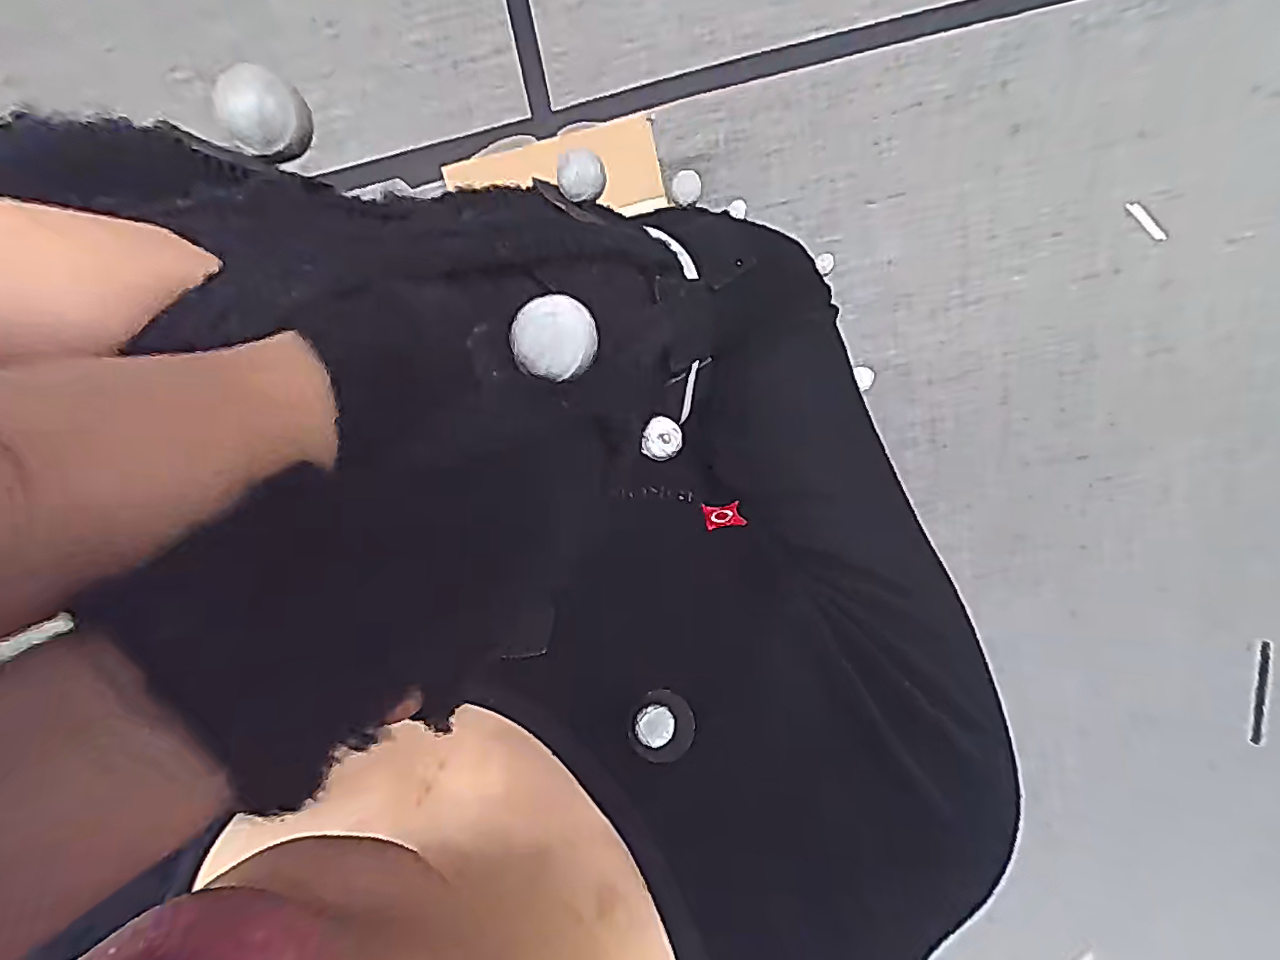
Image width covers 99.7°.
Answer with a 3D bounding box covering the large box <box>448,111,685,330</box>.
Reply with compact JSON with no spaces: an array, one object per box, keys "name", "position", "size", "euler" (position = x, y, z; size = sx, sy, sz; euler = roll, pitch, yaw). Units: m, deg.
[{"name":"large box","position":[-0.142,-0.534,1.191],"size":[0.408,0.320,0.320],"euler":[-14,107,2]}]
